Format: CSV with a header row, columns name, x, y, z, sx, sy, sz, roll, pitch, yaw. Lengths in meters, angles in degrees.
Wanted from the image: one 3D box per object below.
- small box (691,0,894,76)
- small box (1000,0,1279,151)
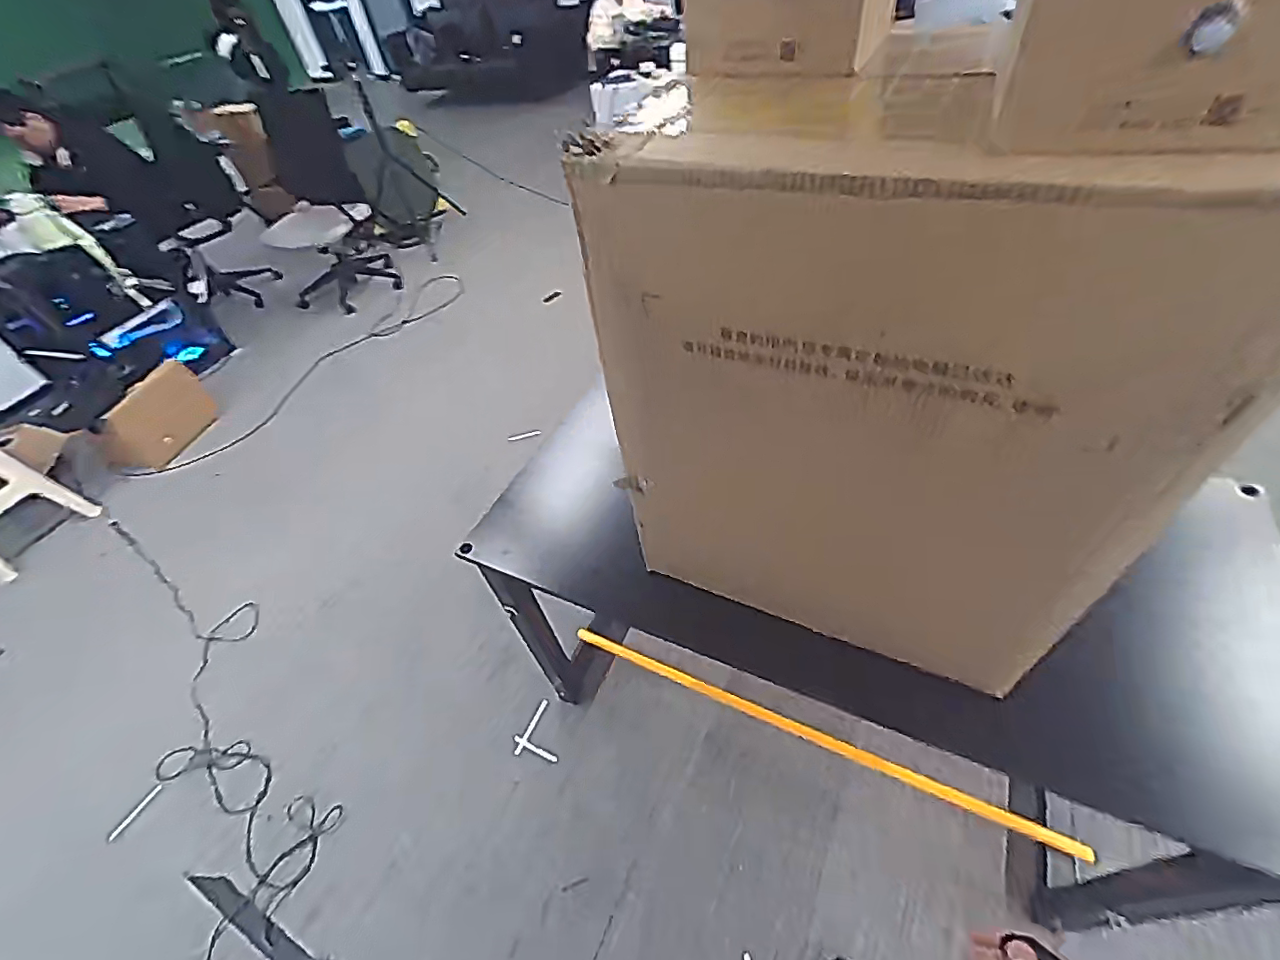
name,x,y,z,sx,sy,sz,roll,pitch,yaw
small box,0.150,-0.493,0.497,0.168,0.176,0.179,17,53,21
small box,0.319,-0.304,0.297,0.168,0.176,0.179,13,53,22
